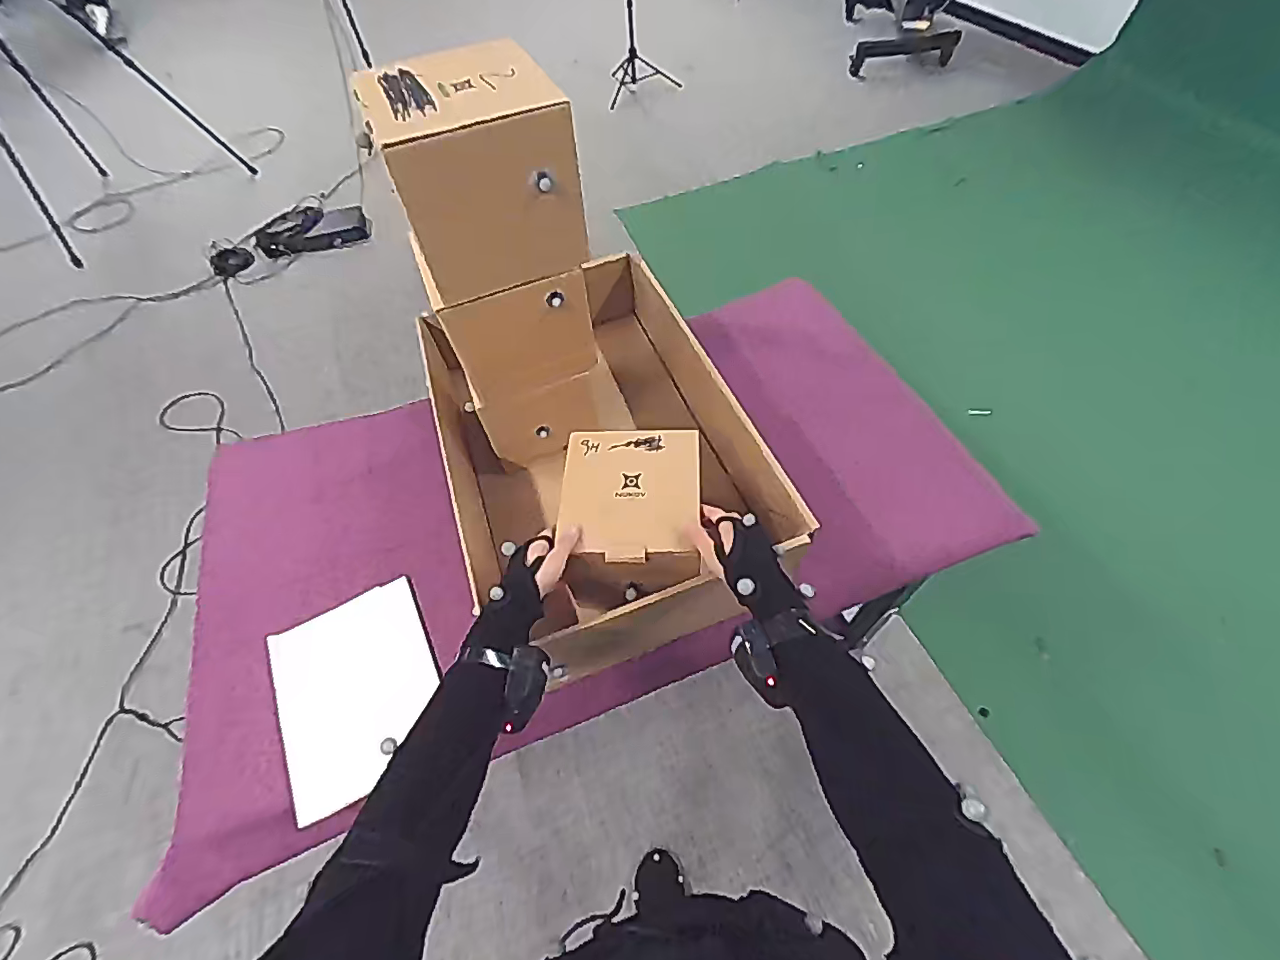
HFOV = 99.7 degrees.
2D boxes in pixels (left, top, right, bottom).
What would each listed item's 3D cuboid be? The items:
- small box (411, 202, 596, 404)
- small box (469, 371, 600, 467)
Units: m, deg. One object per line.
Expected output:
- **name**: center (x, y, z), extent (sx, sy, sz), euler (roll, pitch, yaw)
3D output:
- **small box**: center (-0.173, -0.228, 0.717), extent (0.179, 0.176, 0.168), euler (-21, 58, -10)
- **small box**: center (-0.170, -0.141, 0.853), extent (0.168, 0.176, 0.179), euler (-19, 58, -9)
